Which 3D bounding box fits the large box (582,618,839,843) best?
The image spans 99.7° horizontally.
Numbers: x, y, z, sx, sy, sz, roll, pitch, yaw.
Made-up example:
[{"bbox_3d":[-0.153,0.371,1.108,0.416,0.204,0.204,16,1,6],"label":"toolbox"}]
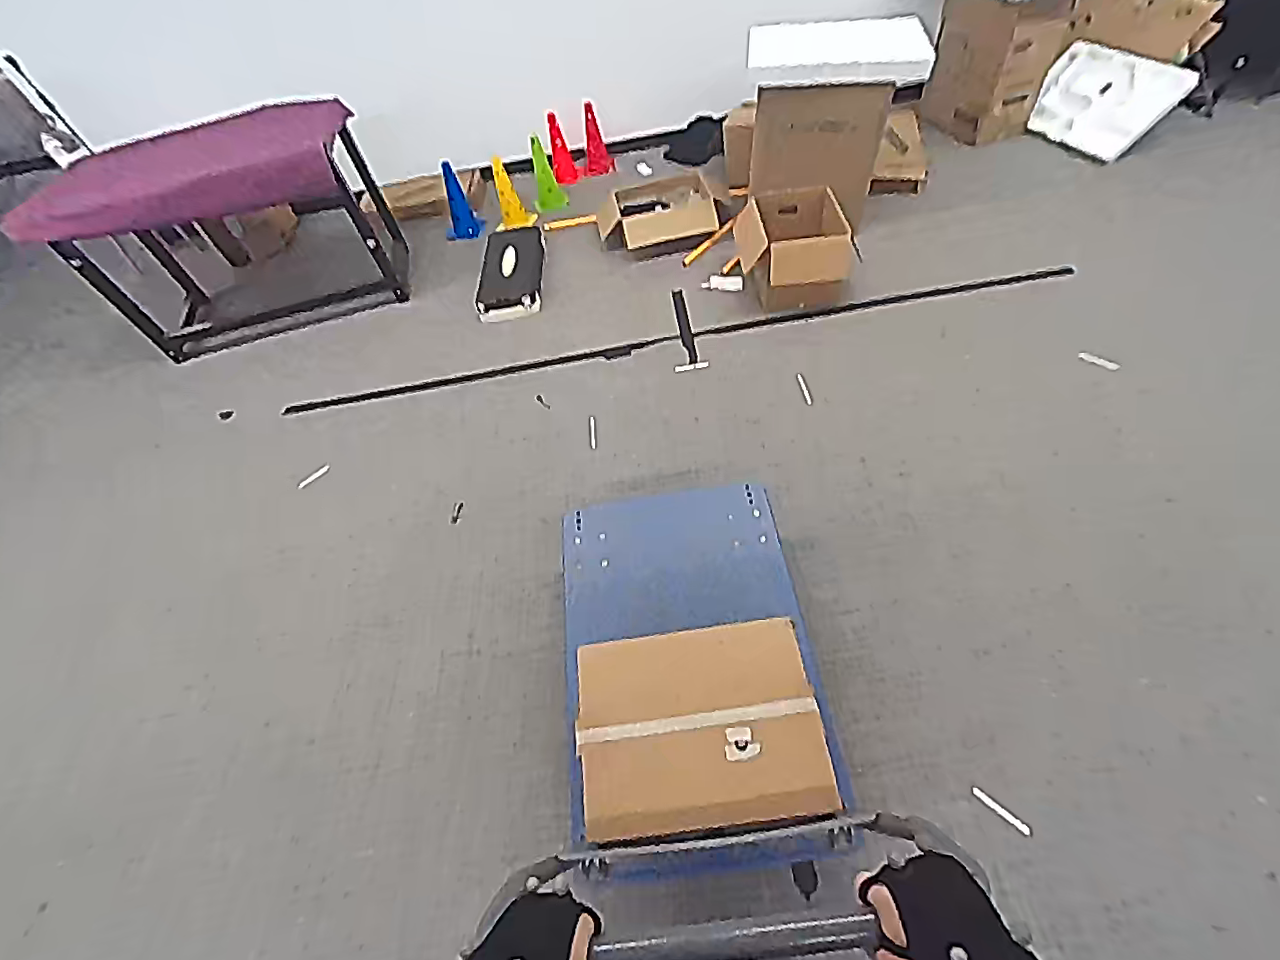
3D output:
[{"bbox_3d":[0.117,0.499,1.061,0.408,0.320,0.320,-9,57,1],"label":"large box"}]
